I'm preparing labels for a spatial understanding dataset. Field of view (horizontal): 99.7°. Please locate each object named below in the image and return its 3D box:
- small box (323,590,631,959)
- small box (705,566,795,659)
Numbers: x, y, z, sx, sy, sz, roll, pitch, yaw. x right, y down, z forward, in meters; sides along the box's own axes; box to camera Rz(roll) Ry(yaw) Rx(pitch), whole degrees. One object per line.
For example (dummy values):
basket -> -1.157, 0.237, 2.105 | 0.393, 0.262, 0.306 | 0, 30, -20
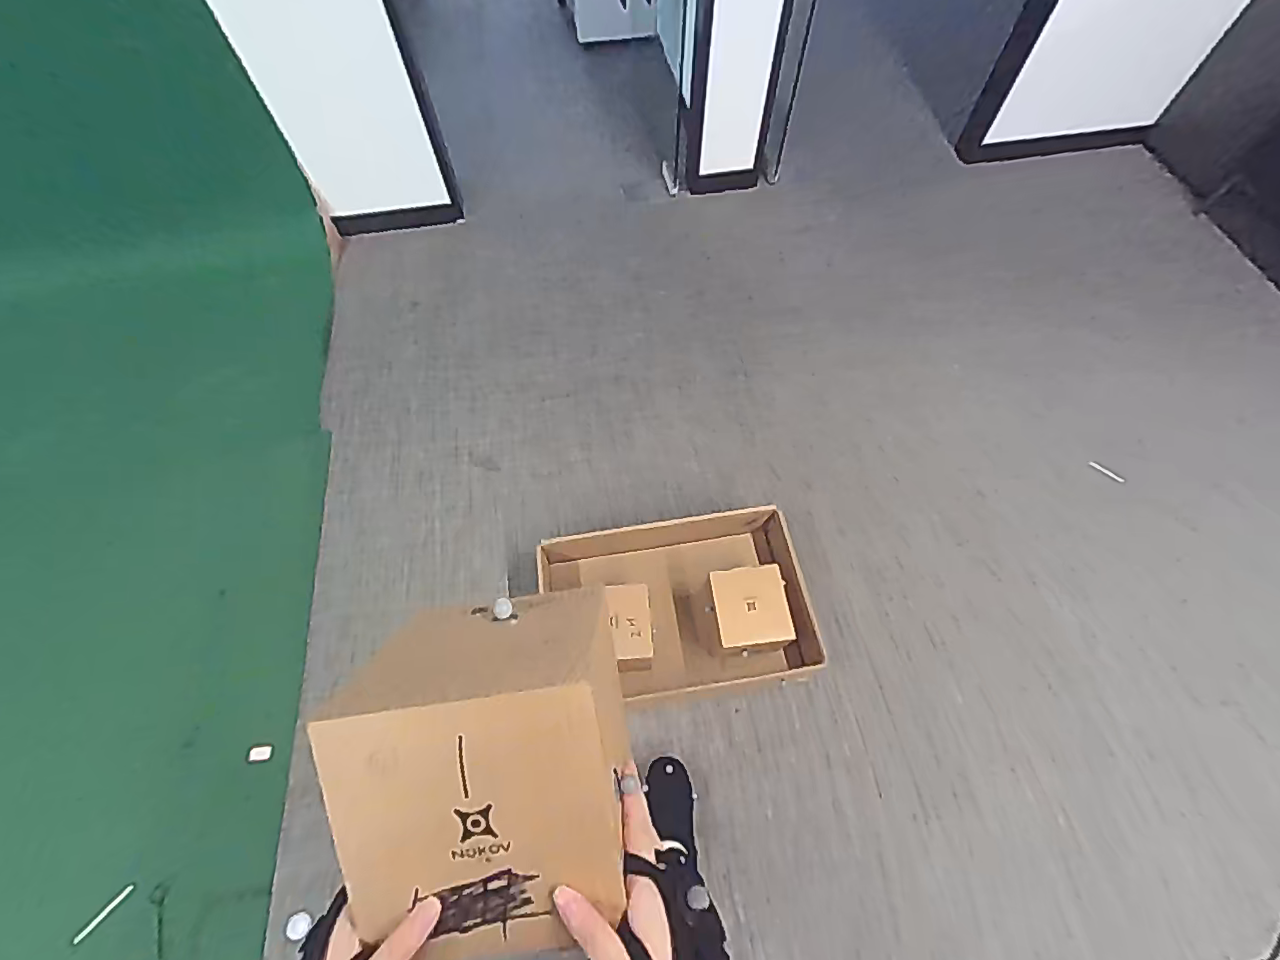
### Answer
small box -> -0.097, 0.201, 0.408 | 0.168, 0.176, 0.179 | -8, 97, -1
small box -> 0.253, 0.320, 1.283 | 0.168, 0.176, 0.179 | -6, 62, -3
